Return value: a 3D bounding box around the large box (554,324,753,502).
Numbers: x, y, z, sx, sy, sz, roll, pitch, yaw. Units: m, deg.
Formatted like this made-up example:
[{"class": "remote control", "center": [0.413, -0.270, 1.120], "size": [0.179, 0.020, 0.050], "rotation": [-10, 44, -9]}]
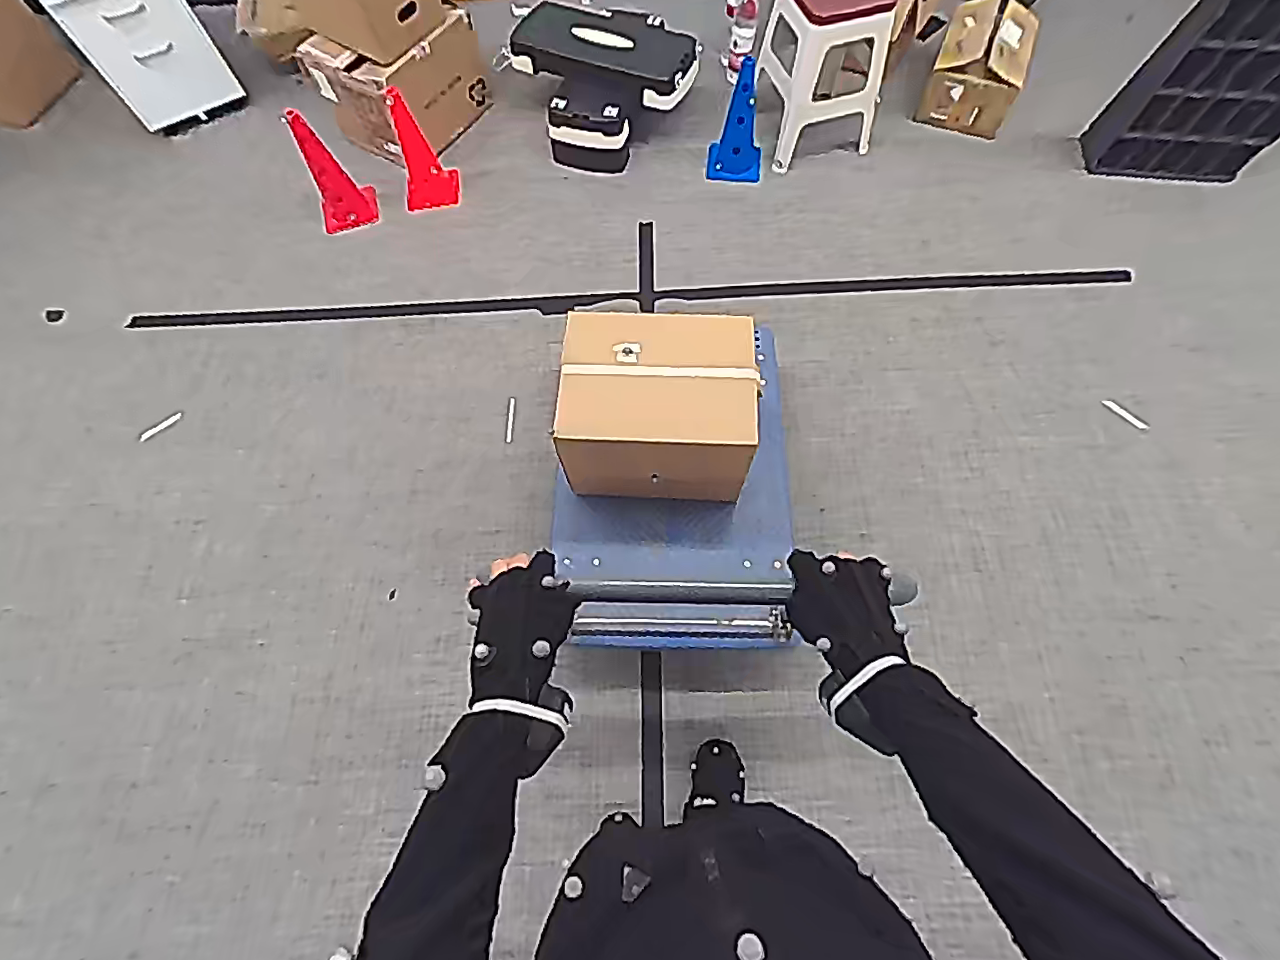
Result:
[{"class": "large box", "center": [0.038, -0.143, 1.263], "size": [0.408, 0.320, 0.320], "rotation": [2, 67, 3]}]
